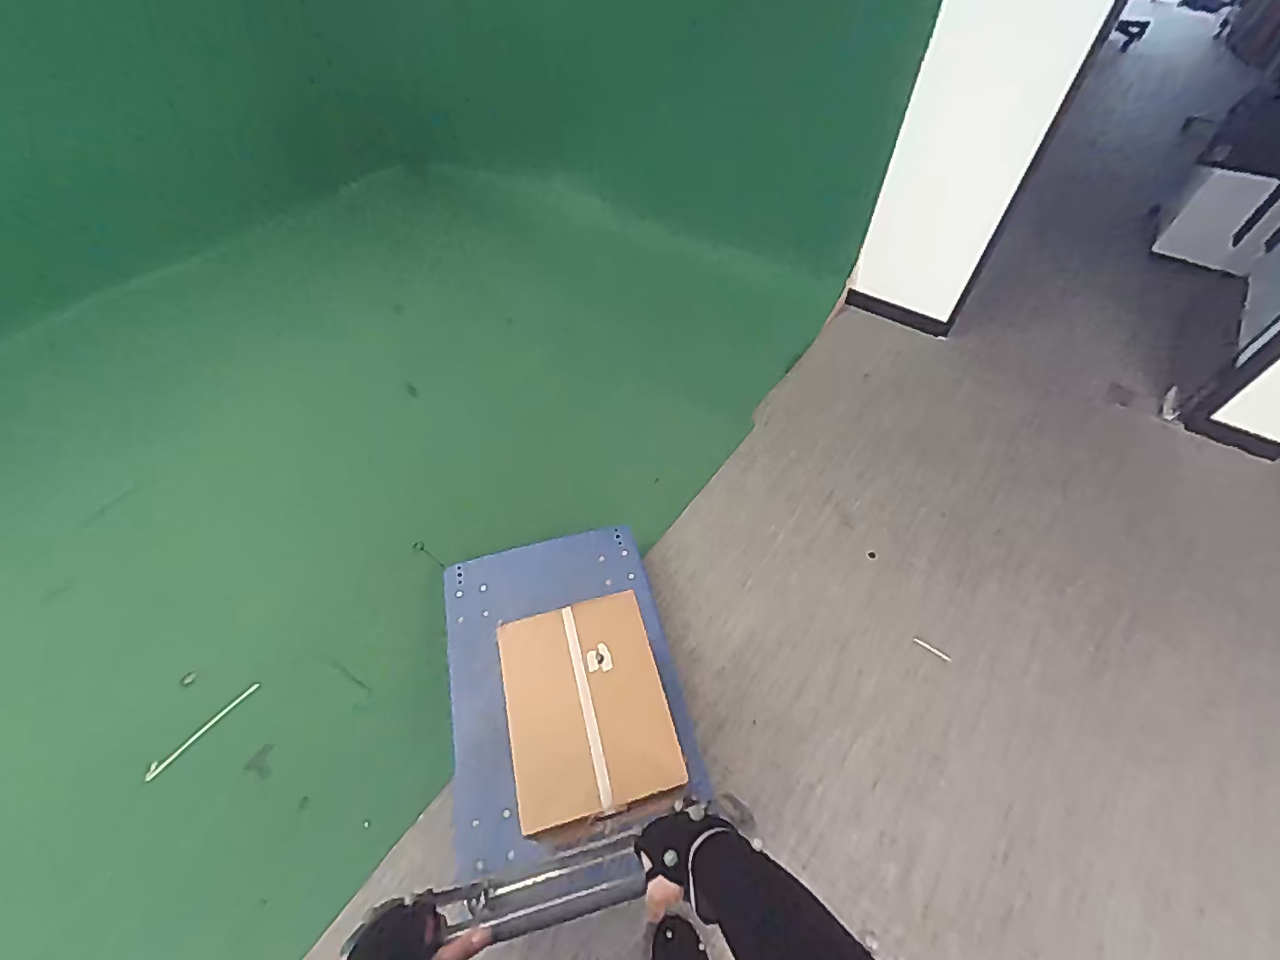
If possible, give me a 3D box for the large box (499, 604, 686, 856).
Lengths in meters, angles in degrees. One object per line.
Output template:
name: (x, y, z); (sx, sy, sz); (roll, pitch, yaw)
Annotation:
large box: (-0.107, 0.558, 1.217); (0.320, 0.320, 0.408); (-13, 52, -9)
